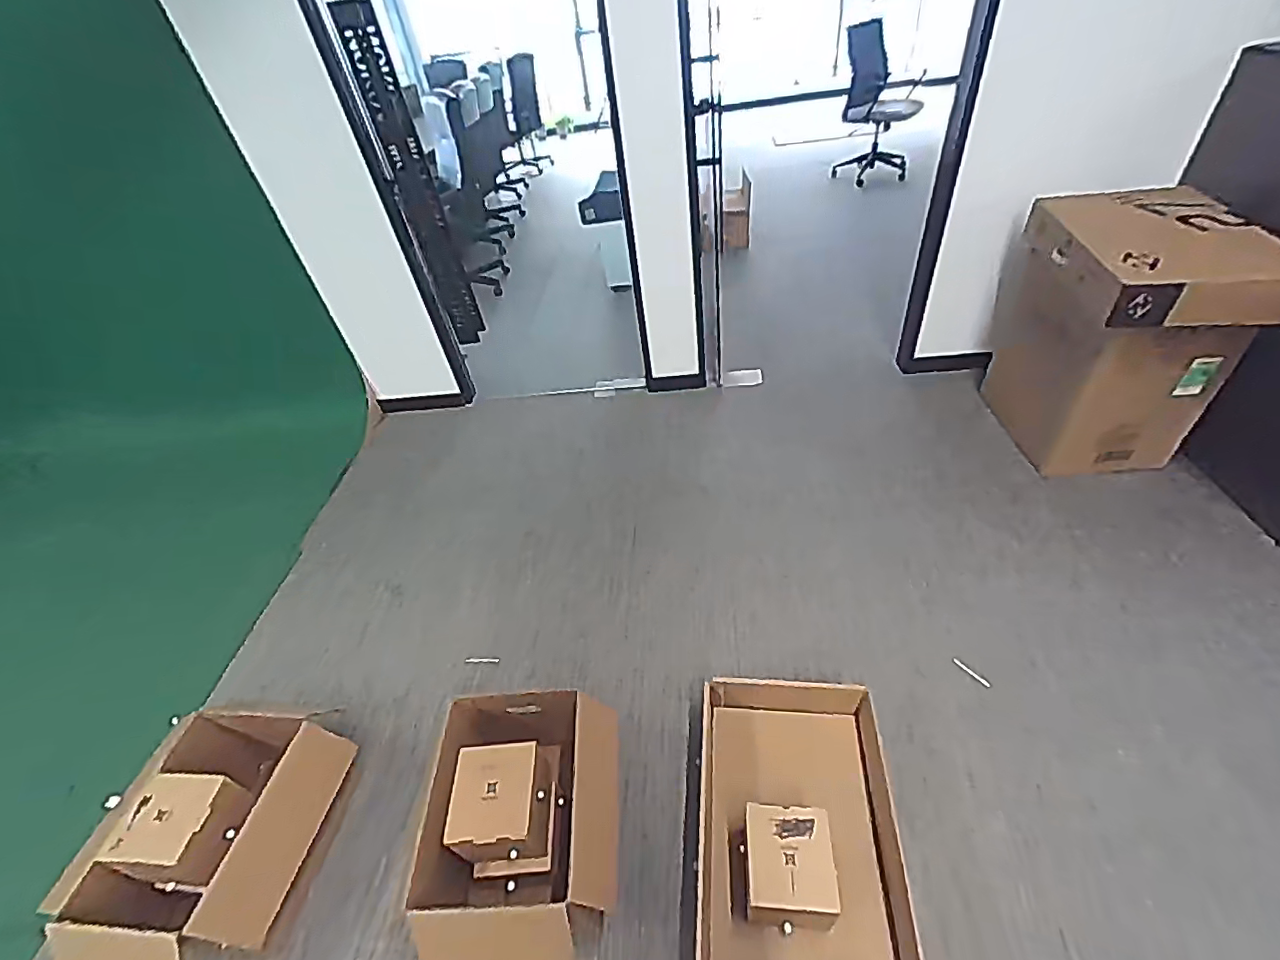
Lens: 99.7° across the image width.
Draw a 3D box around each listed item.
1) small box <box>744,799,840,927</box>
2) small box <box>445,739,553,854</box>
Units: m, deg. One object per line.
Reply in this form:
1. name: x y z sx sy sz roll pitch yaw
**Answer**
1. small box: 0.301 0.783 1.107 0.168 0.176 0.179 -1 43 8
2. small box: -0.285 0.669 1.135 0.168 0.176 0.179 -6 44 3
